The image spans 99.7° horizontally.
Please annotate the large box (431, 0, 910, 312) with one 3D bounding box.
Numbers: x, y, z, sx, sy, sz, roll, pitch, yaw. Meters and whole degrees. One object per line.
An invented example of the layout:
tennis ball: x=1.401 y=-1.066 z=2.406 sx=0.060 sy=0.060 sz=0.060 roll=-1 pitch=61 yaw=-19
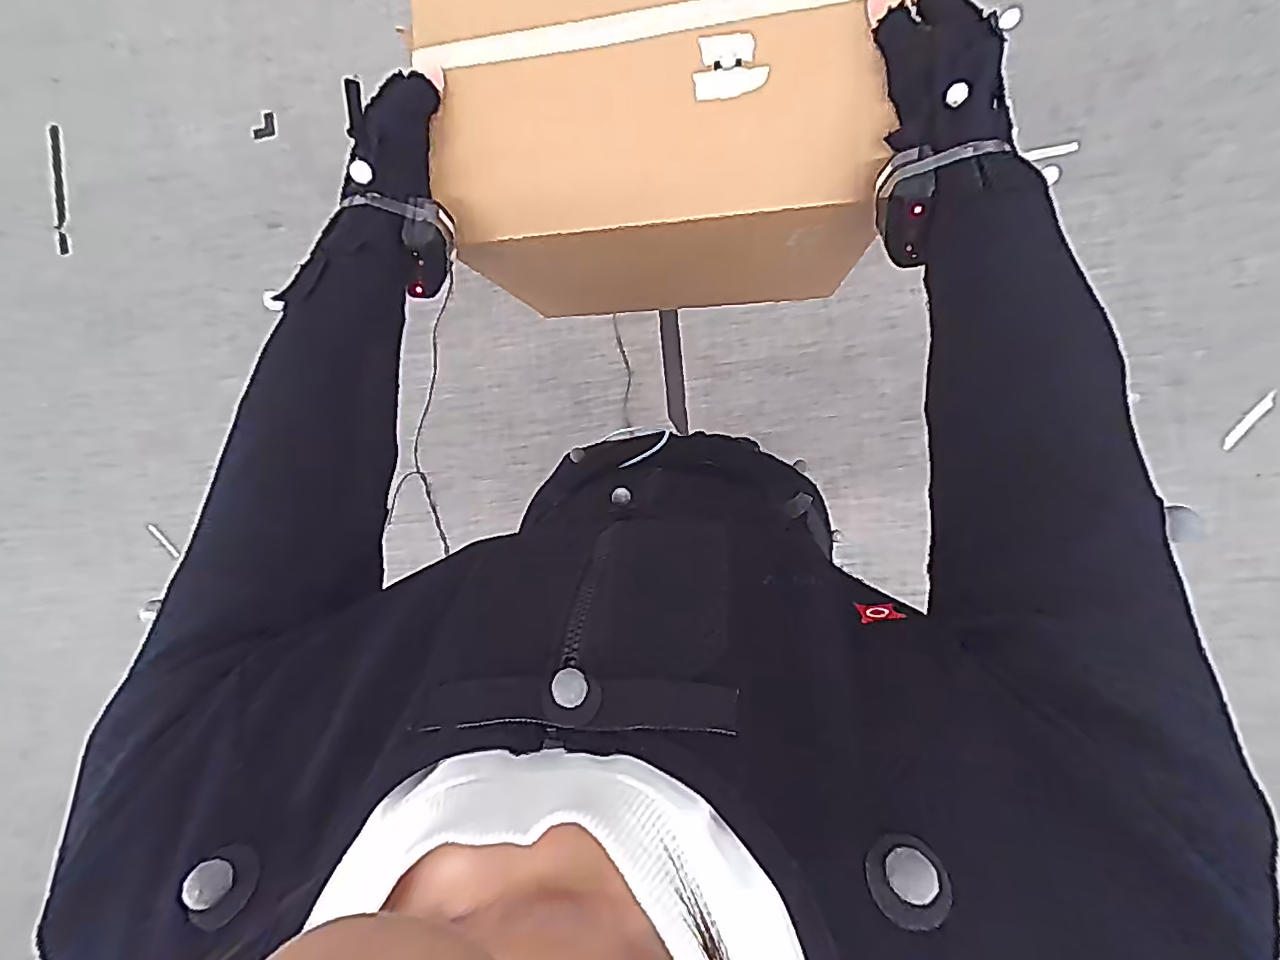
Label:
large box: x=0.032 y=-0.392 z=0.599 sx=0.408 sy=0.320 sz=0.320 roll=-2 pitch=95 yaw=8
